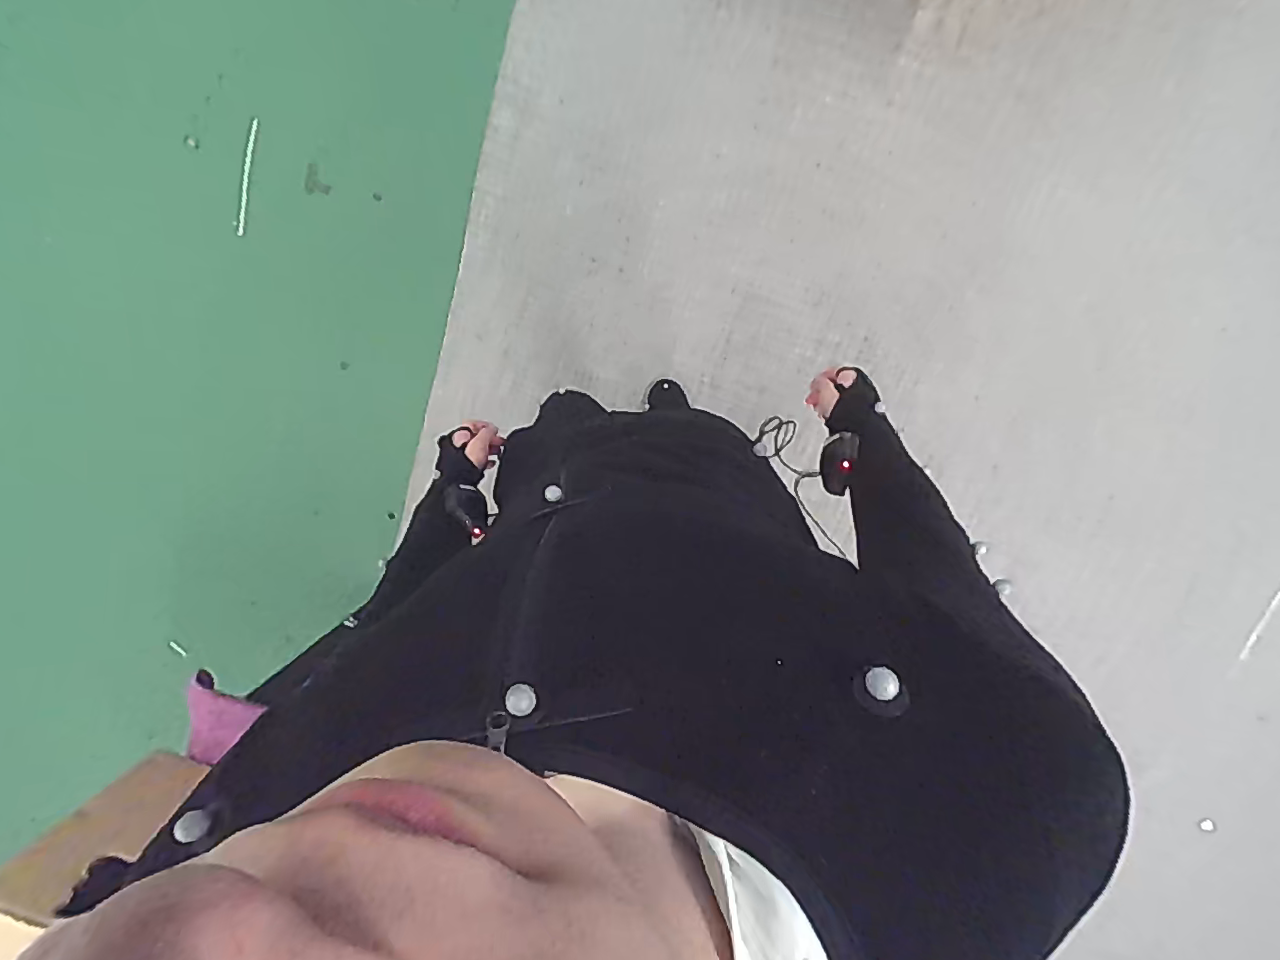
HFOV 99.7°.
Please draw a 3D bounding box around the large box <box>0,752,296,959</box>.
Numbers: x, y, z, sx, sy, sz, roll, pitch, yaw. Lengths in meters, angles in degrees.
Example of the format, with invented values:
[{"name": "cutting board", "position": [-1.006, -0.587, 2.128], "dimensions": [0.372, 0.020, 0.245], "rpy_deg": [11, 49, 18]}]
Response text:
[{"name": "large box", "position": [-0.906, 0.811, 0.999], "dimensions": [0.320, 0.320, 0.408], "rpy_deg": [19, 104, -1]}]
